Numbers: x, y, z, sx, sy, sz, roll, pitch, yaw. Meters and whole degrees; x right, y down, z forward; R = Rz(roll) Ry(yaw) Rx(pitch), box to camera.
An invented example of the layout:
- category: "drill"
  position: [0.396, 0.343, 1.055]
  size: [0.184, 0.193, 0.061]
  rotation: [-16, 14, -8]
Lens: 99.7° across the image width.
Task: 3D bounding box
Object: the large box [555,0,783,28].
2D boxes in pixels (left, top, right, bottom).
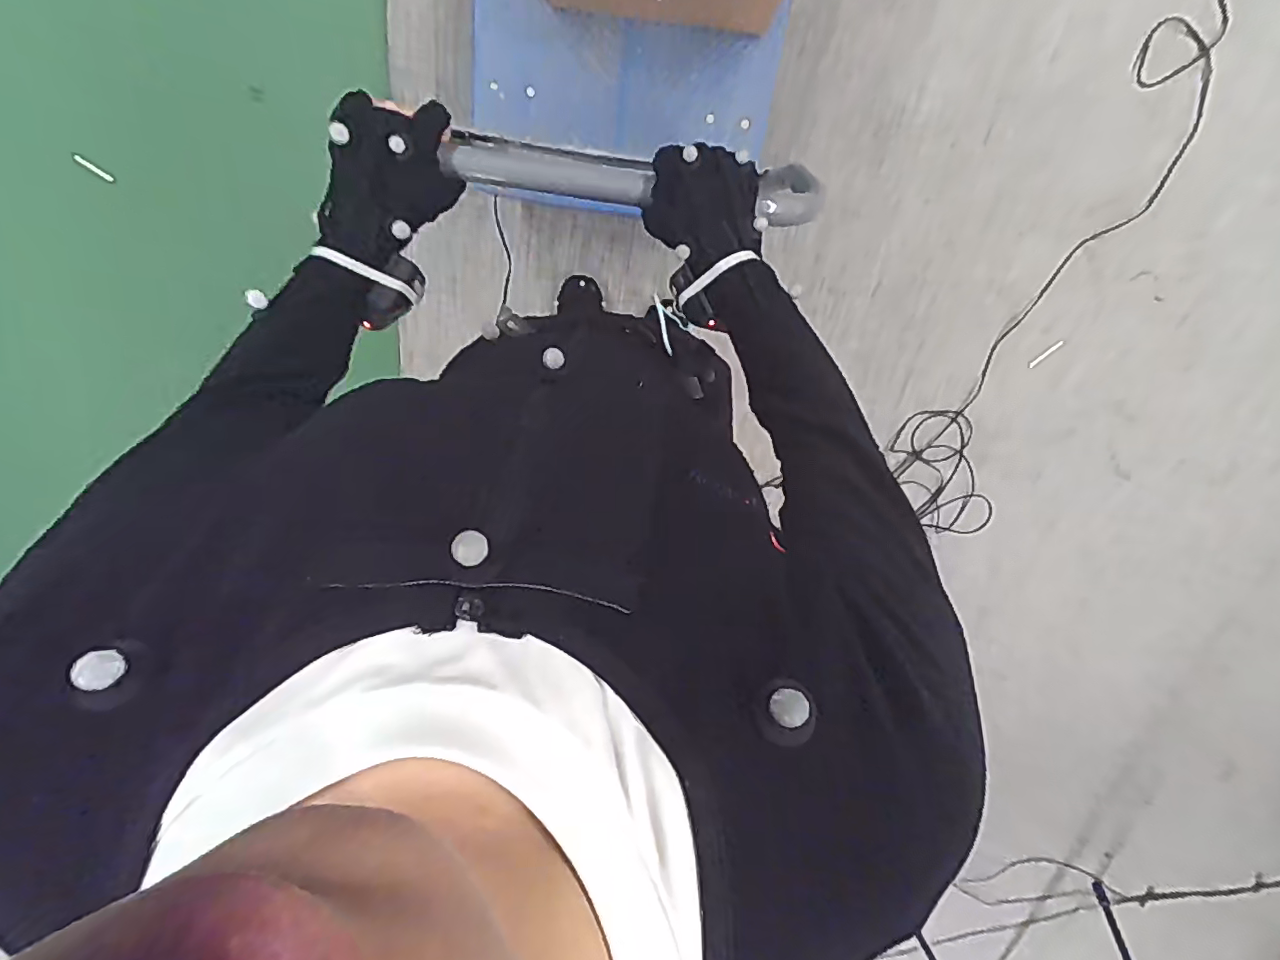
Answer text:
- category: "large box"
  position: [0.052, -0.936, 0.812]
  size: [0.408, 0.320, 0.320]
  rotation: [6, 113, -1]
